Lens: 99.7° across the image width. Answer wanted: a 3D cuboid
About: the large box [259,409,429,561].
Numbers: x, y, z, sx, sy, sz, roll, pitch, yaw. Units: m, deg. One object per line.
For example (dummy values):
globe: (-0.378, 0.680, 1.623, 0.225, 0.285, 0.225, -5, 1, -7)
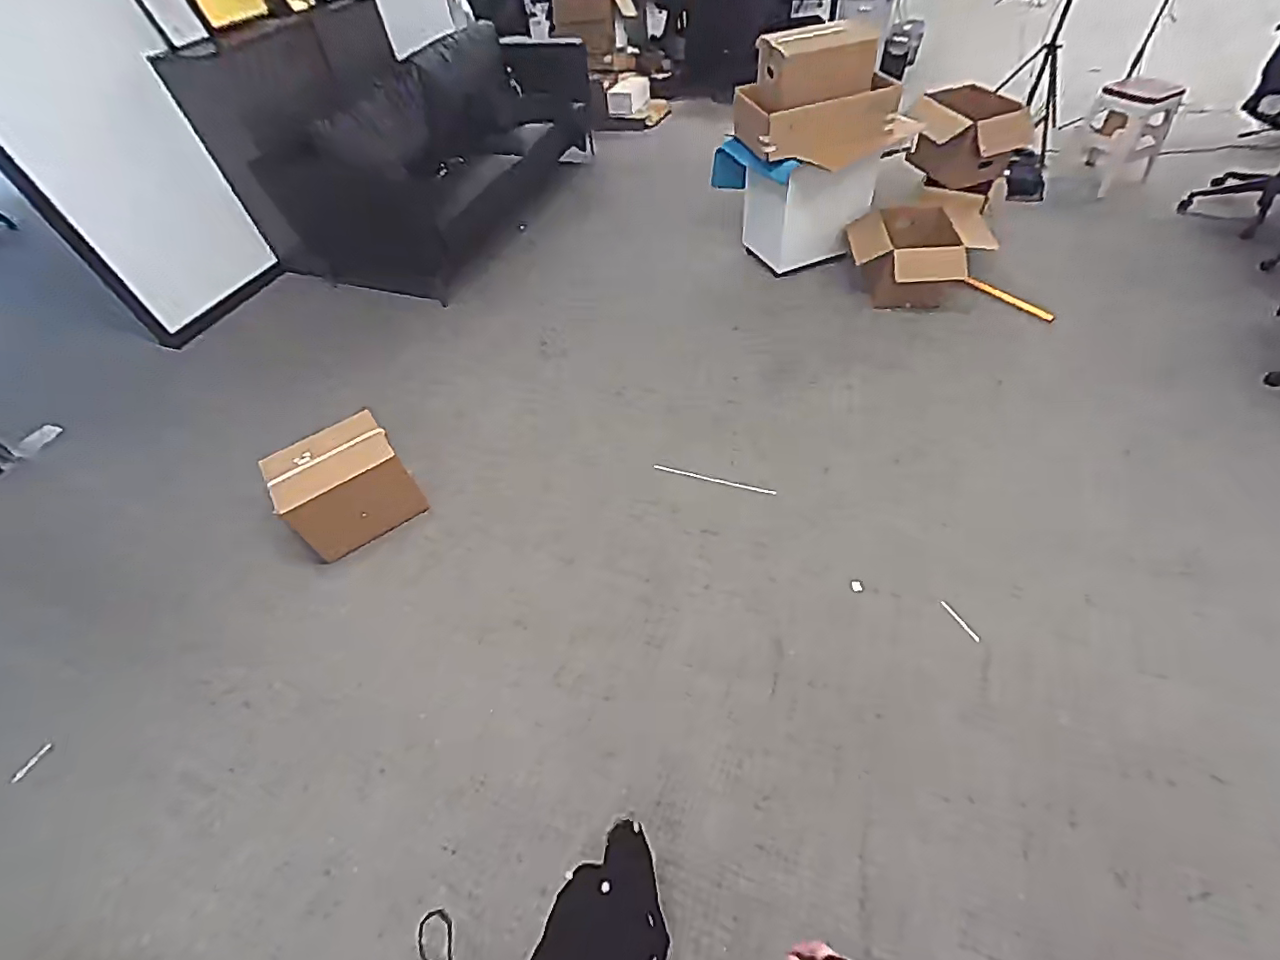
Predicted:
large box: (-1.069, 0.016, 1.982, 0.408, 0.320, 0.320, -33, 54, -18)
